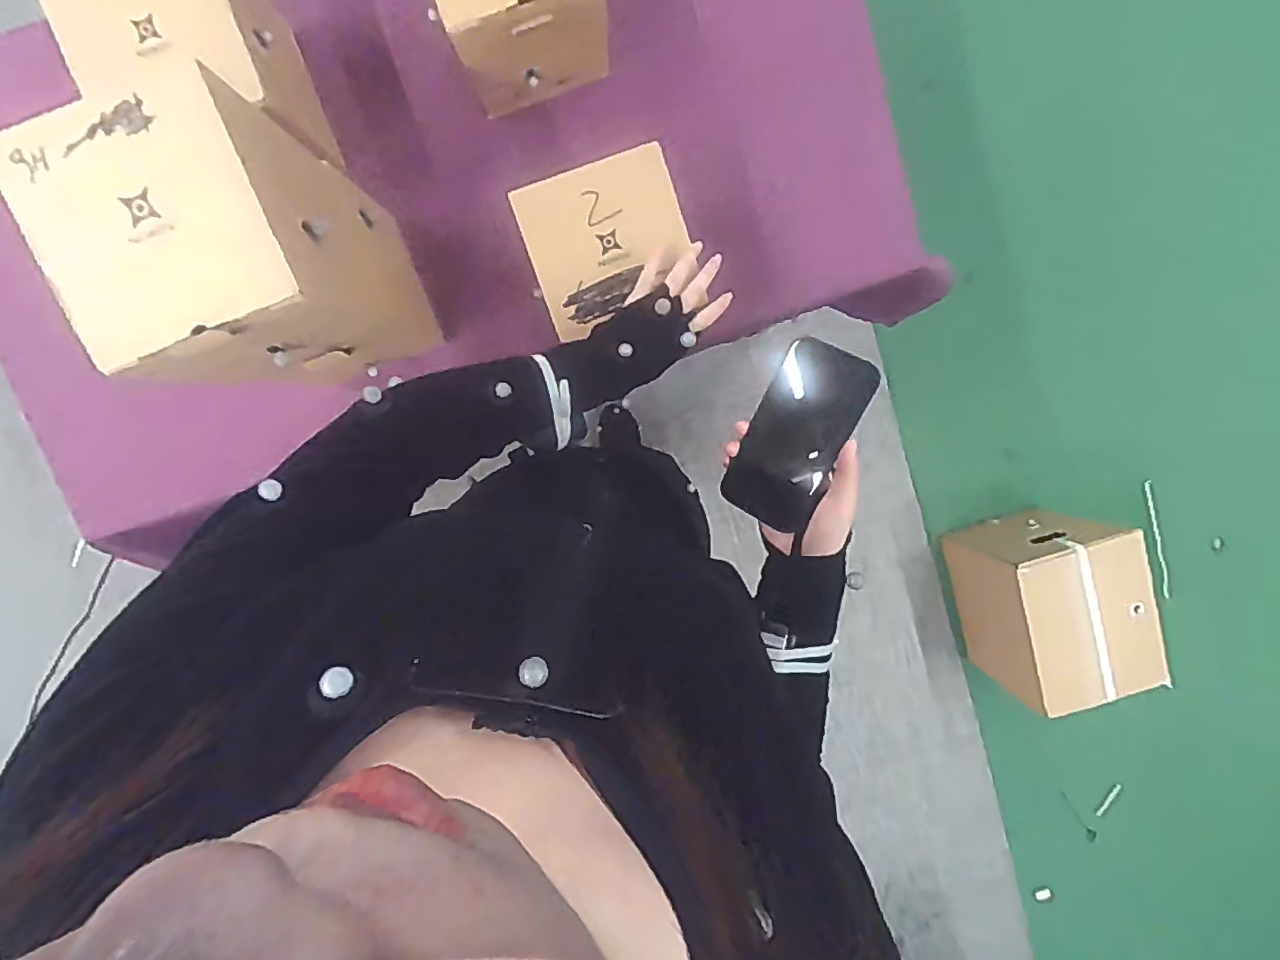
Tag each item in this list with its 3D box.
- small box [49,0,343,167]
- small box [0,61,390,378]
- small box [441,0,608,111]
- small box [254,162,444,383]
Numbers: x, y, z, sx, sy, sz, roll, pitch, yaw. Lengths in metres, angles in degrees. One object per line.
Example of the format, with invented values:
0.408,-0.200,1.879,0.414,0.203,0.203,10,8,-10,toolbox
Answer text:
-0.469,-0.440,0.599,0.168,0.176,0.179,-18,98,-1,small box
-0.354,-0.199,0.471,0.168,0.176,0.179,-22,99,1,small box
-0.140,-0.559,0.595,0.168,0.176,0.179,-20,99,1,small box
-0.359,-0.224,0.633,0.168,0.176,0.179,-20,97,1,small box
